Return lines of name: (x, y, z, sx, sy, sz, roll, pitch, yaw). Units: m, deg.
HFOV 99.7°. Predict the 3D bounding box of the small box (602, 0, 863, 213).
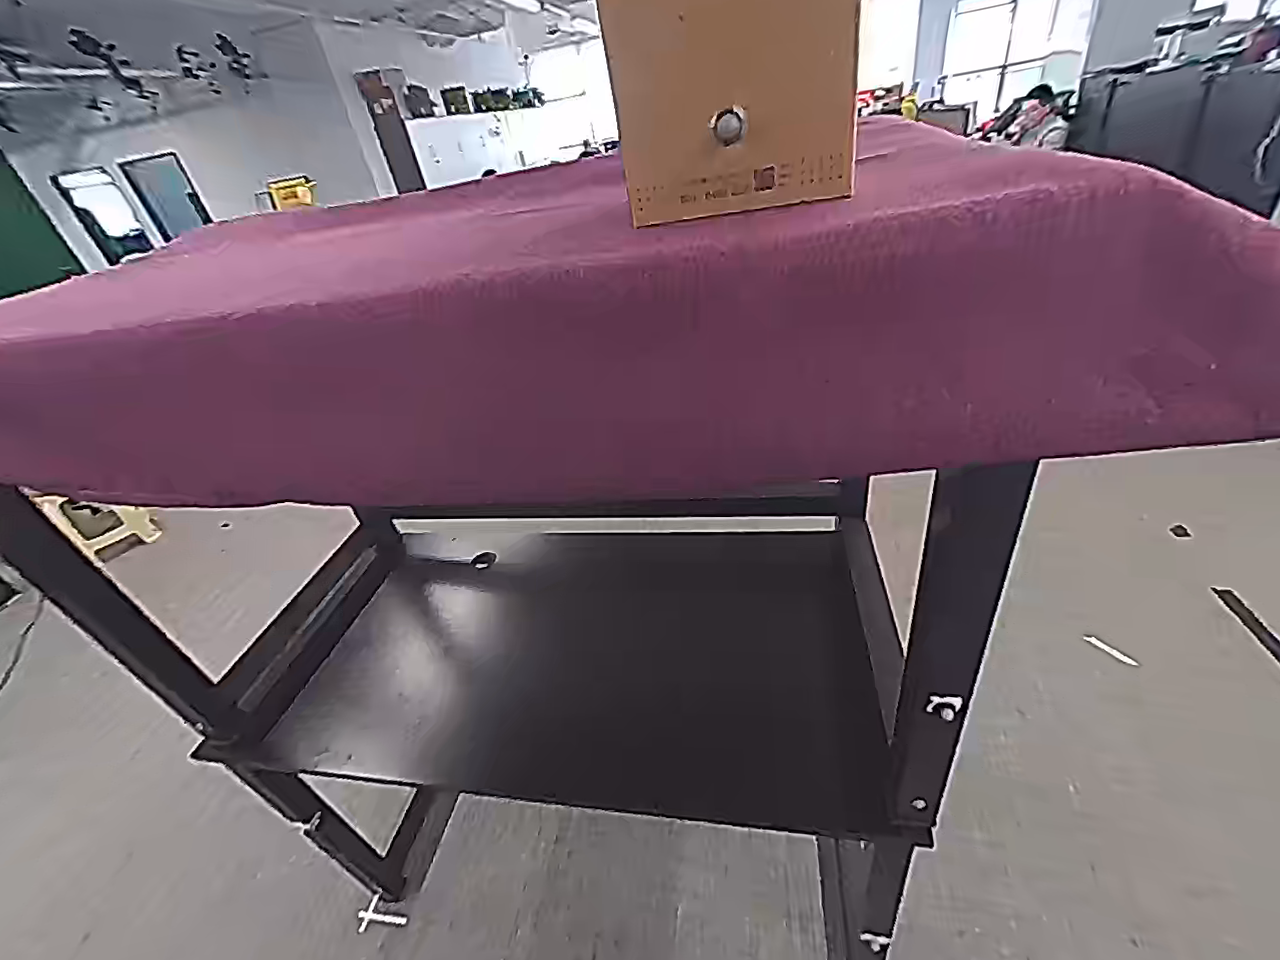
small box: (0.076, -0.315, 0.416, 0.168, 0.176, 0.179, -1, 35, 17)
